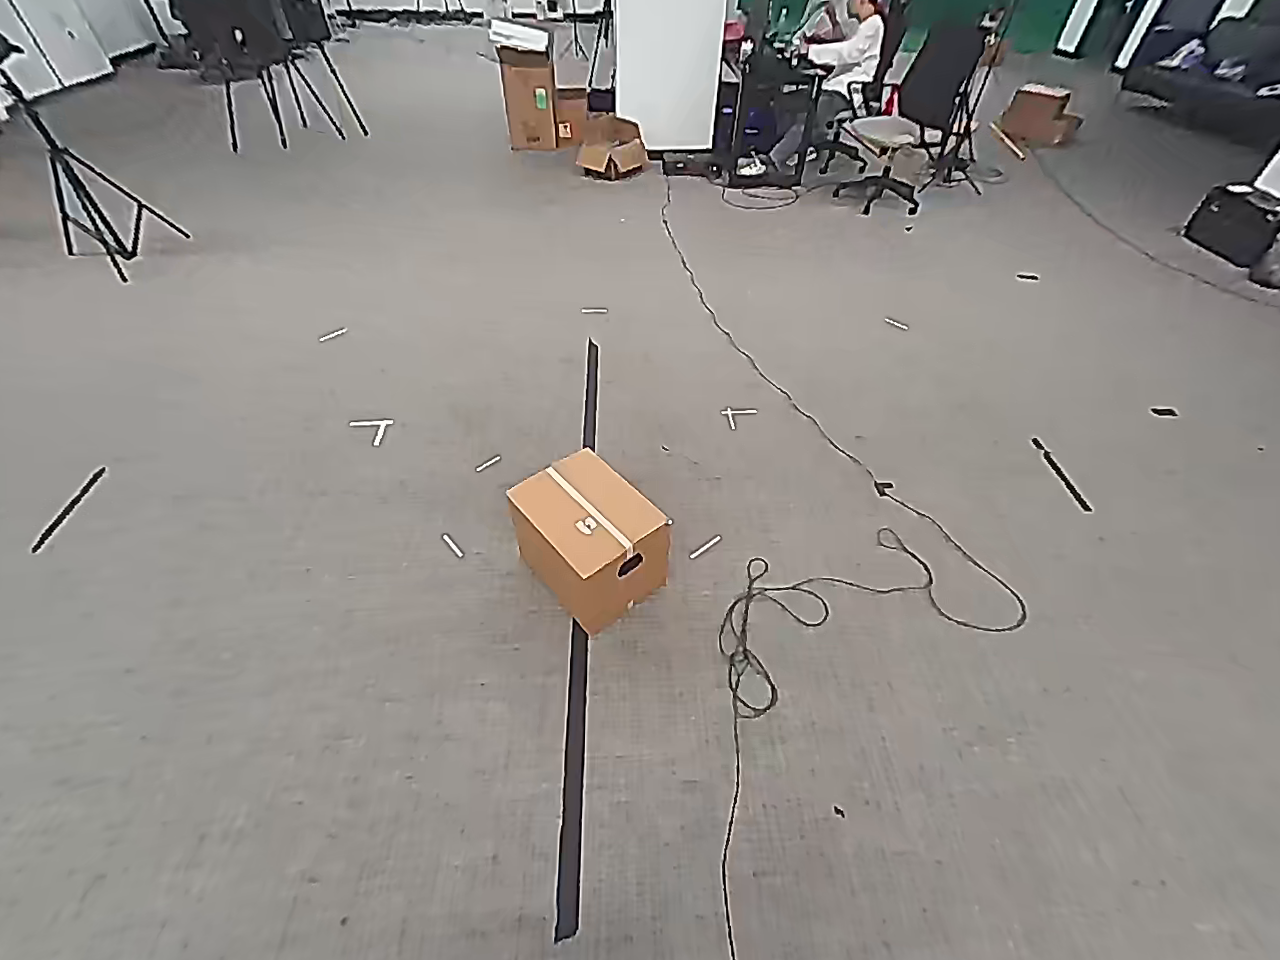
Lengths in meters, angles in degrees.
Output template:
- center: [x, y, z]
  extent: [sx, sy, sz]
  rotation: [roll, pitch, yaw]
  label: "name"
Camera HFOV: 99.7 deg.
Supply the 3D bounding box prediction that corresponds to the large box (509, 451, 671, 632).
- center: [-0.158, 0.185, 1.693]
  extent: [0.320, 0.320, 0.408]
  rotation: [-31, 55, -27]
  label: "large box"
